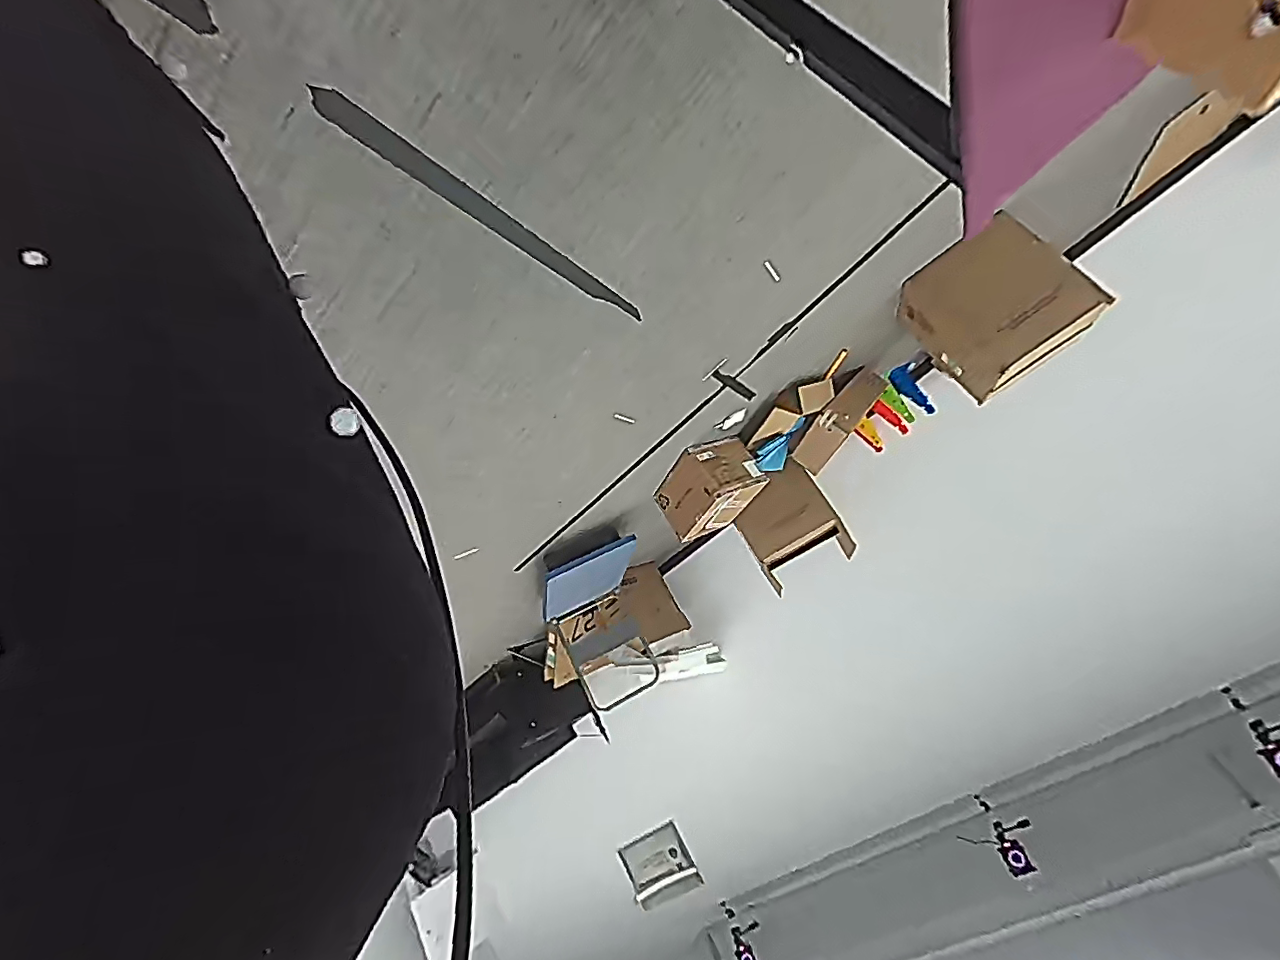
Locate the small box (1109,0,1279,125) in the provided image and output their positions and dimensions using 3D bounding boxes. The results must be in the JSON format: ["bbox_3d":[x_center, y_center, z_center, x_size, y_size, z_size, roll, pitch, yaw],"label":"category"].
[{"bbox_3d":[0.572,-0.475,0.471,0.168,0.176,0.179,-40,157,15],"label":"small box"}]
